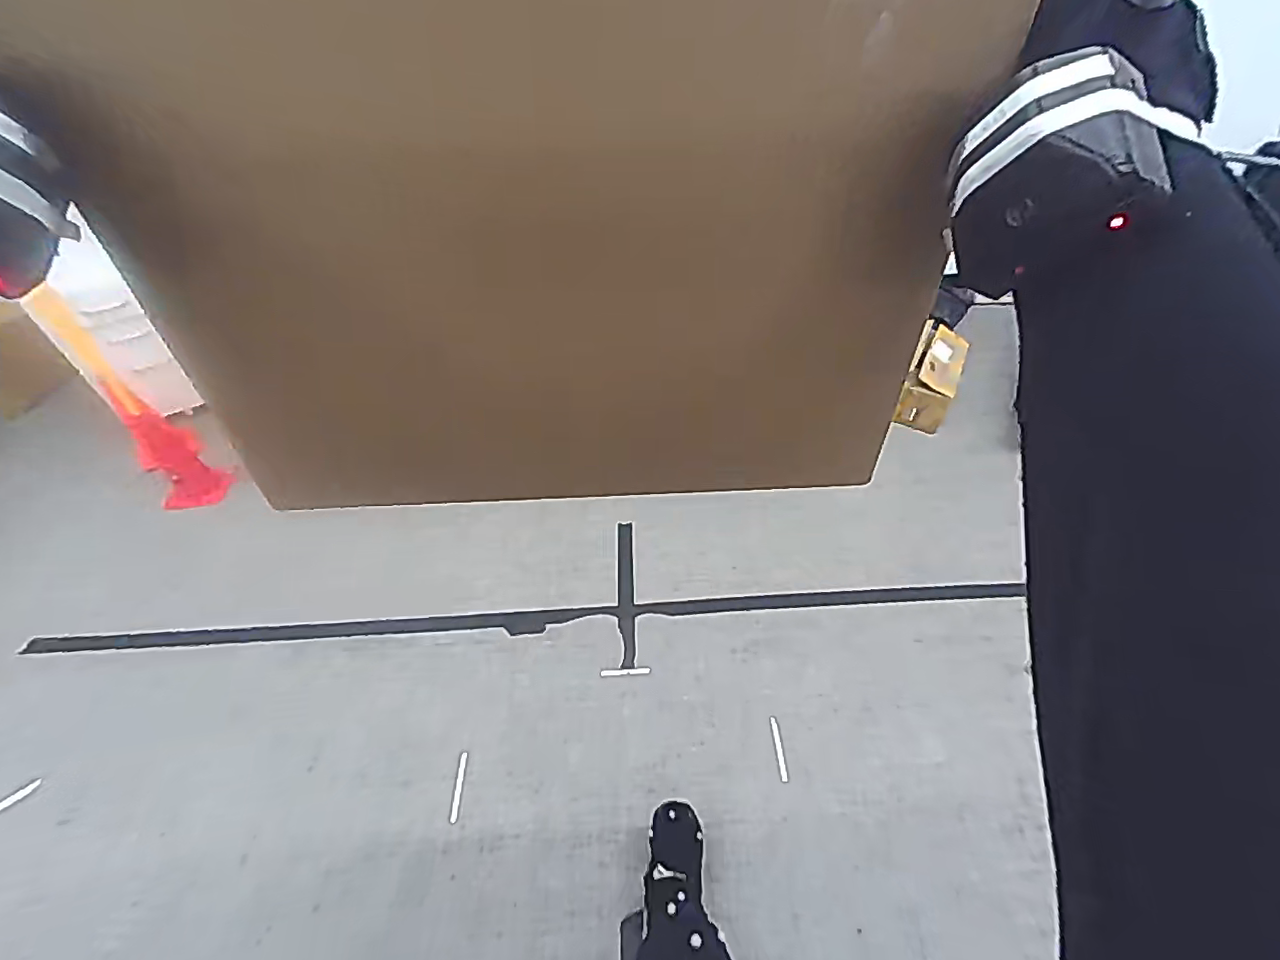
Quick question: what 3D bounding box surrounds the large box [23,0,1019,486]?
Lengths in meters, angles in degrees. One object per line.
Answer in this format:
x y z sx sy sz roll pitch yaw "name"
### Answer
-0.049 -0.212 0.388 0.408 0.320 0.320 -2 42 -2 "large box"
